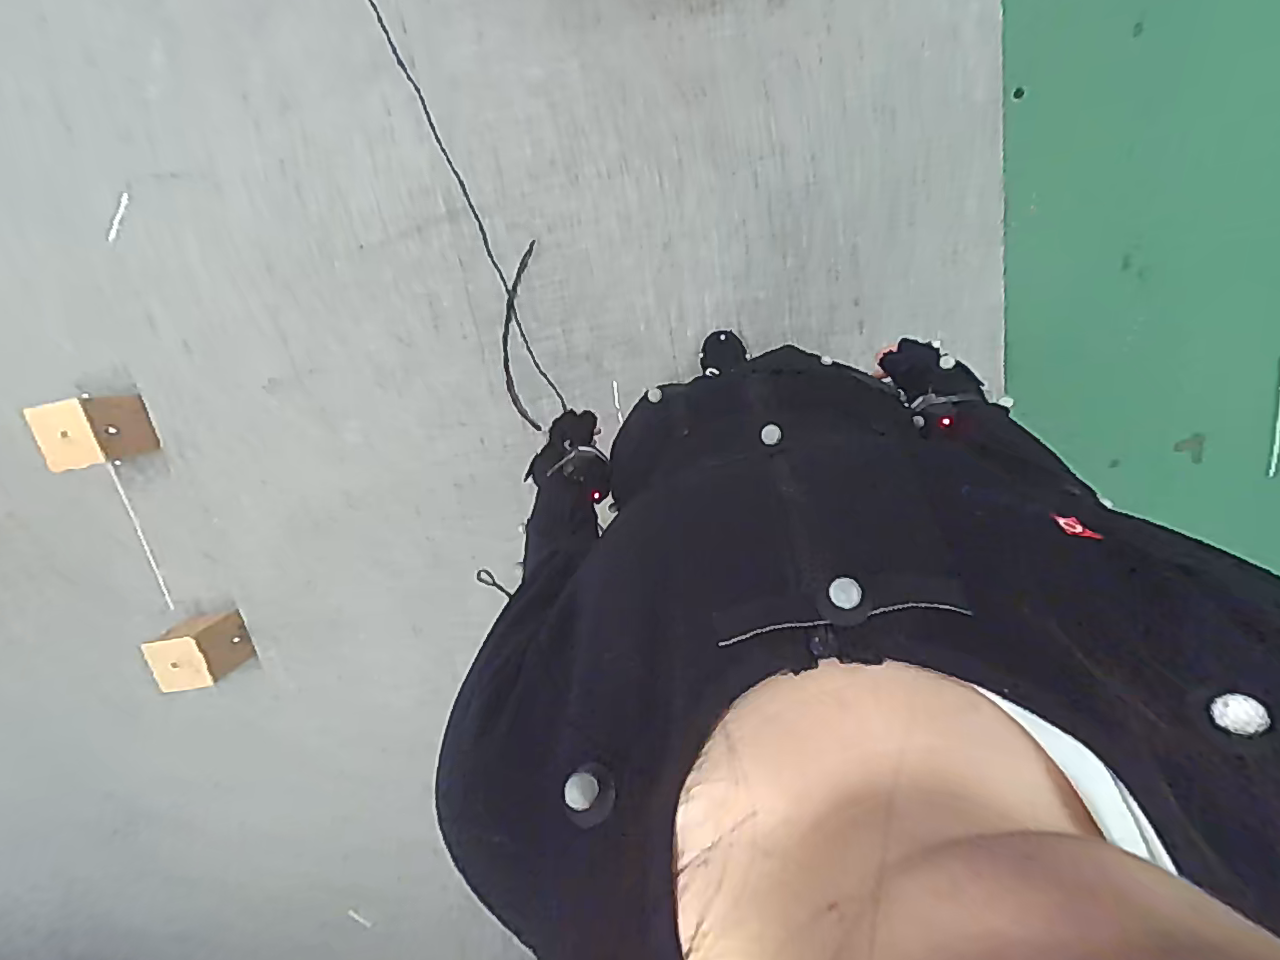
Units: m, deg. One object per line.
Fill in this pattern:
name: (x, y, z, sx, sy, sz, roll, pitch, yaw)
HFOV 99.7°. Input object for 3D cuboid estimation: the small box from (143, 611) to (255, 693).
small box: (-1.329, 0.517, 1.641, 0.179, 0.176, 0.168, -10, 104, 6)

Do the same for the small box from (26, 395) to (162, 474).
small box: (-1.481, -0.131, 1.480, 0.168, 0.176, 0.179, -10, 104, 6)
